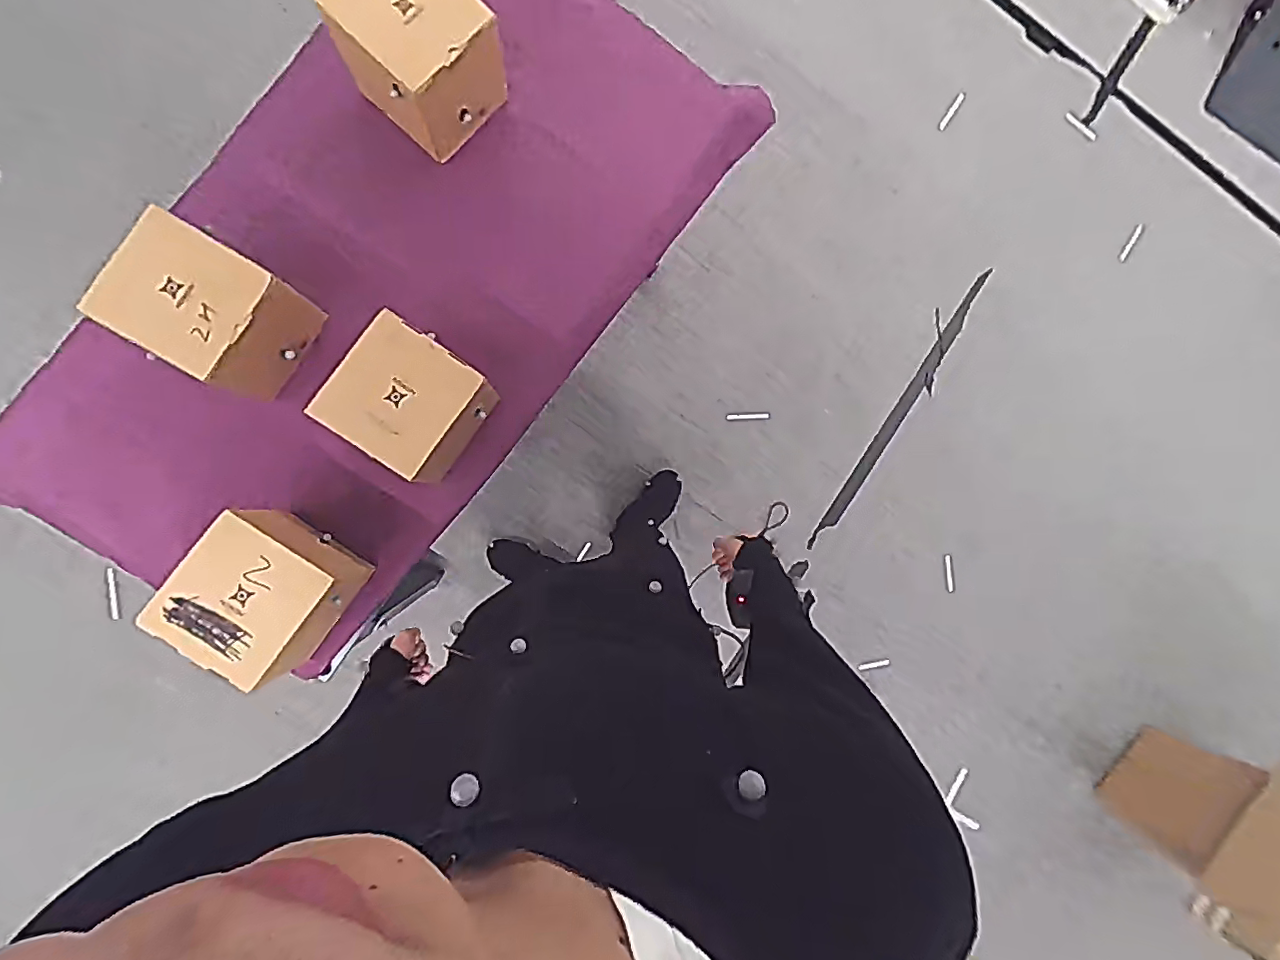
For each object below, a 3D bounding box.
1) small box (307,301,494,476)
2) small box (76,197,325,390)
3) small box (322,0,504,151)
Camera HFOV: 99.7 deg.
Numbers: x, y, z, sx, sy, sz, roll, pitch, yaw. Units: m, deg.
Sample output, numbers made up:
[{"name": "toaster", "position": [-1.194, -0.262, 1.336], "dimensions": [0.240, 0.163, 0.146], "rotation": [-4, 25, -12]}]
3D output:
[{"name": "small box", "position": [-0.332, -0.121, 0.796], "dimensions": [0.168, 0.176, 0.179], "rotation": [35, 84, -5]}, {"name": "small box", "position": [-0.598, -0.246, 0.765], "dimensions": [0.179, 0.176, 0.168], "rotation": [31, 85, -6]}, {"name": "small box", "position": [-0.327, -0.649, 0.810], "dimensions": [0.179, 0.176, 0.168], "rotation": [41, 85, -6]}]
